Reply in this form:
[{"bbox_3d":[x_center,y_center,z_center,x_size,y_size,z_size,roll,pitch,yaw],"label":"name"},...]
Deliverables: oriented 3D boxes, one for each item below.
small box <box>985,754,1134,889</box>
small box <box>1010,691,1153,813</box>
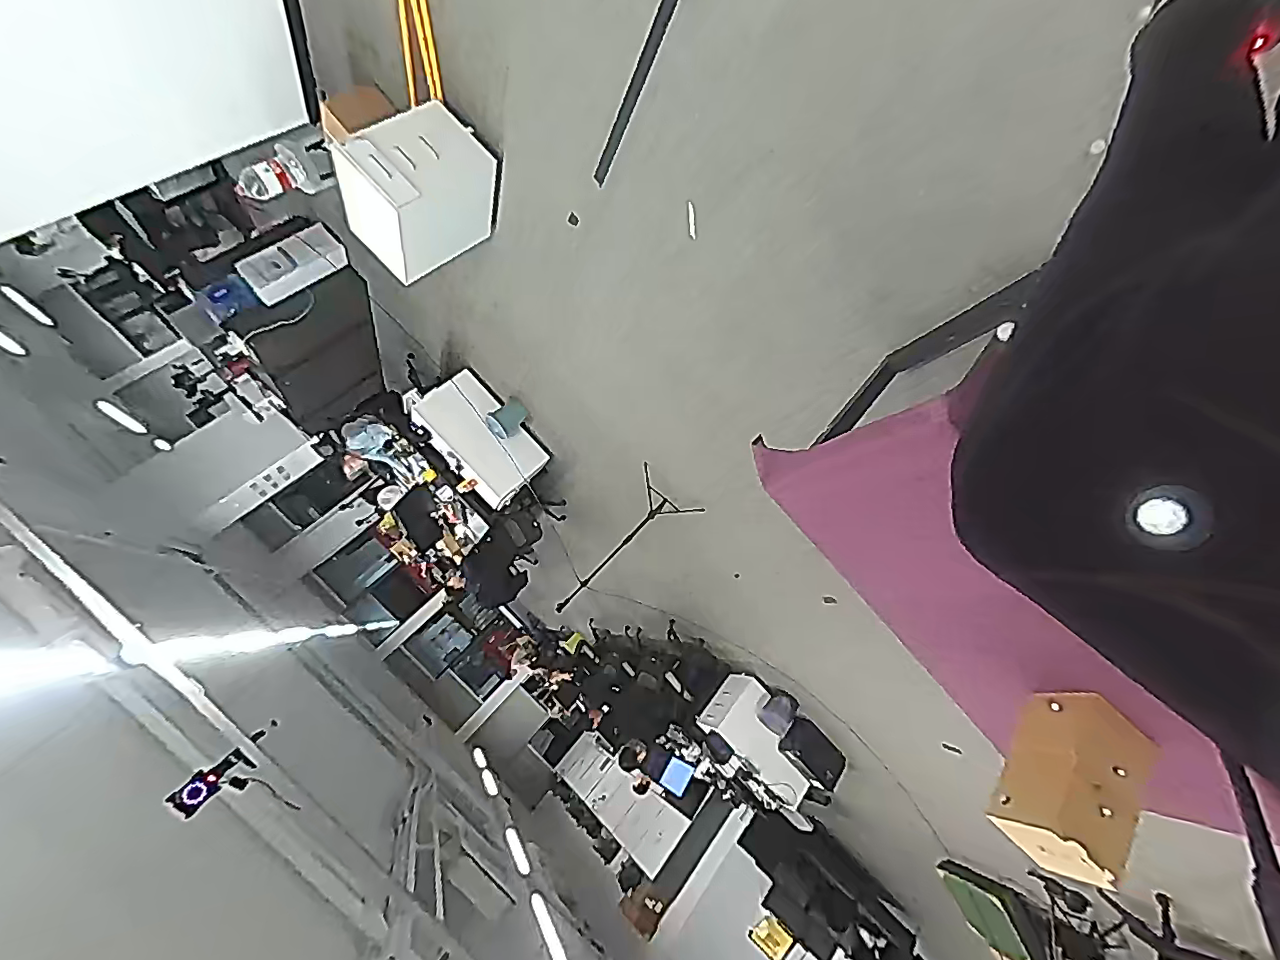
[{"bbox_3d":[0.910,0.725,1.174,0.168,0.176,0.179,42,155,6],"label":"small box"},{"bbox_3d":[1.012,0.612,1.239,0.179,0.176,0.168,44,155,5],"label":"small box"}]
